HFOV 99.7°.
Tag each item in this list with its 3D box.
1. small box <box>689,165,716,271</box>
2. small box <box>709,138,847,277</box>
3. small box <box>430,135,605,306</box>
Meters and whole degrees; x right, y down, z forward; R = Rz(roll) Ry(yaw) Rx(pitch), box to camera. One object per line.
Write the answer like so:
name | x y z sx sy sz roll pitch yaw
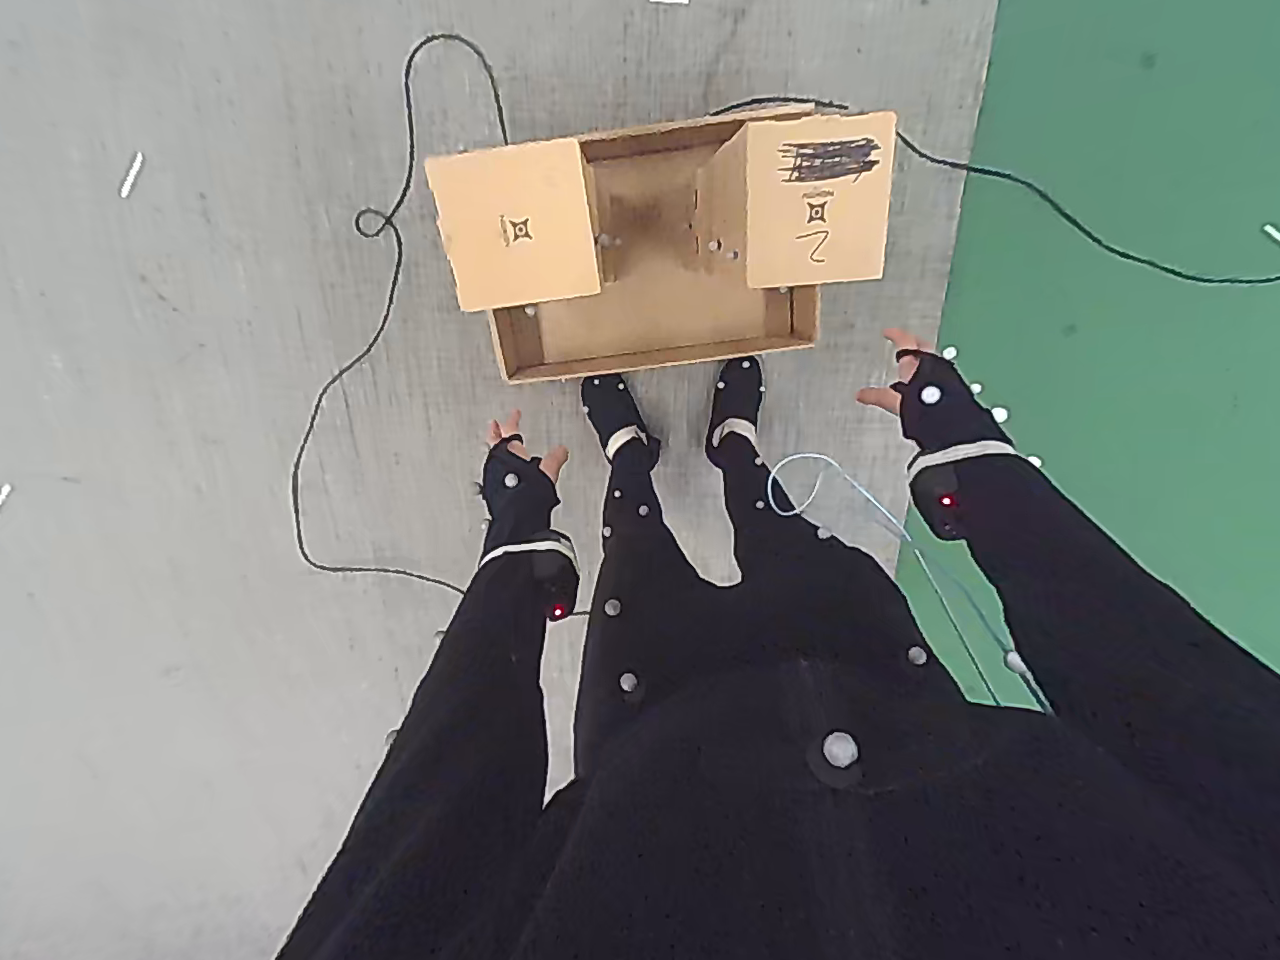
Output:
small box | 0.183 -0.475 0.997 0.179 0.176 0.168 -2 111 0
small box | 0.203 -0.415 0.844 0.168 0.176 0.179 -3 111 -1
small box | -0.140 -0.327 0.696 0.179 0.176 0.168 -7 113 2
